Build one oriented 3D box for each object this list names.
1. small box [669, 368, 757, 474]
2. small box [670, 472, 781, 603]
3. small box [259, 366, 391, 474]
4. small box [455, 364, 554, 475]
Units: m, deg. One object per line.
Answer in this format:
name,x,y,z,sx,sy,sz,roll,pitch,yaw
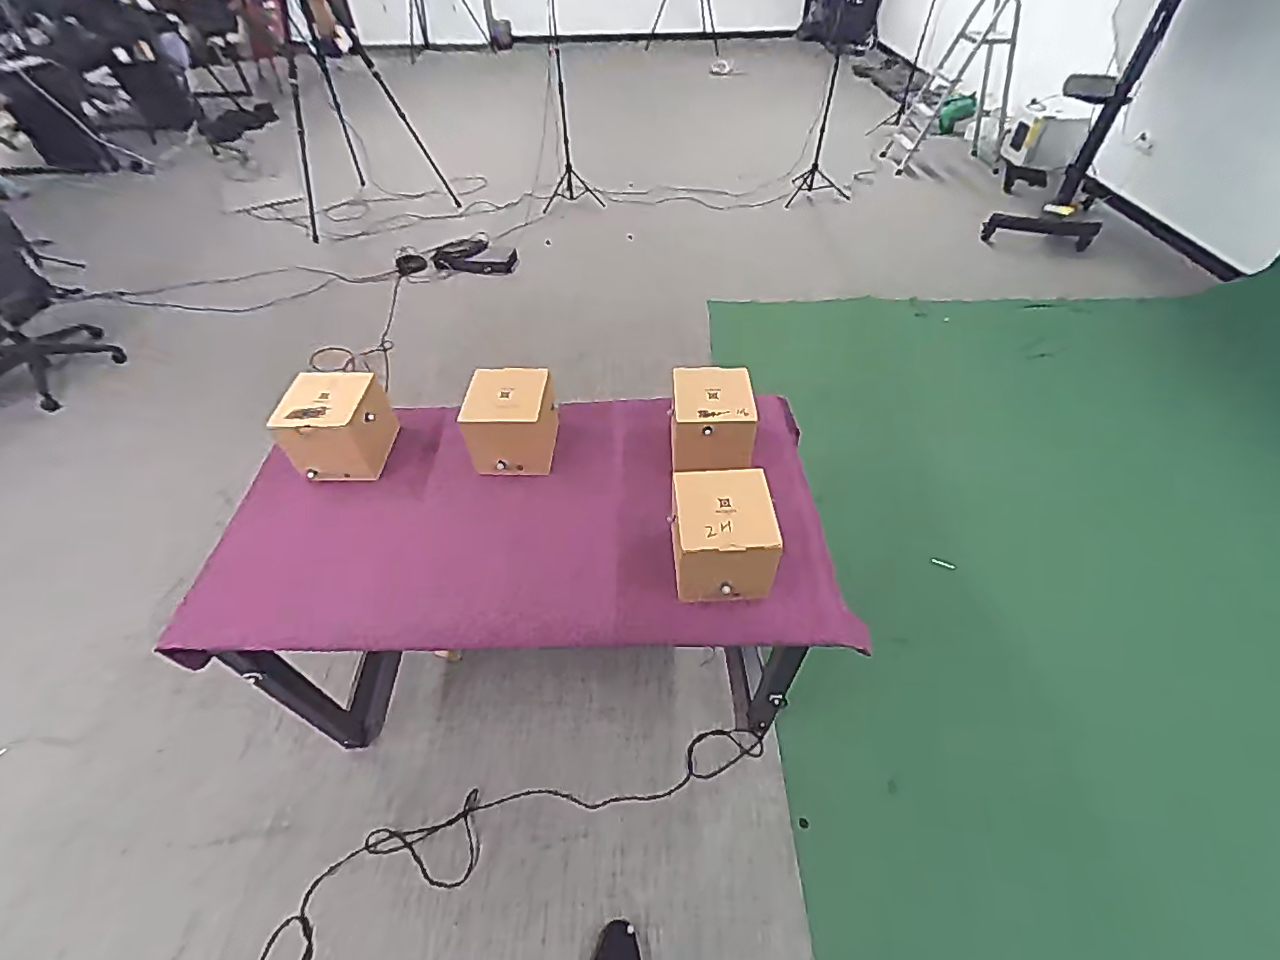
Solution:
small box,0.151,-0.125,1.179,0.168,0.176,0.179,0,49,0
small box,0.144,0.105,0.978,0.168,0.176,0.179,-2,49,0
small box,-0.663,-0.126,1.167,0.168,0.176,0.179,1,50,-1
small box,-0.285,-0.133,1.183,0.168,0.176,0.179,1,50,1
